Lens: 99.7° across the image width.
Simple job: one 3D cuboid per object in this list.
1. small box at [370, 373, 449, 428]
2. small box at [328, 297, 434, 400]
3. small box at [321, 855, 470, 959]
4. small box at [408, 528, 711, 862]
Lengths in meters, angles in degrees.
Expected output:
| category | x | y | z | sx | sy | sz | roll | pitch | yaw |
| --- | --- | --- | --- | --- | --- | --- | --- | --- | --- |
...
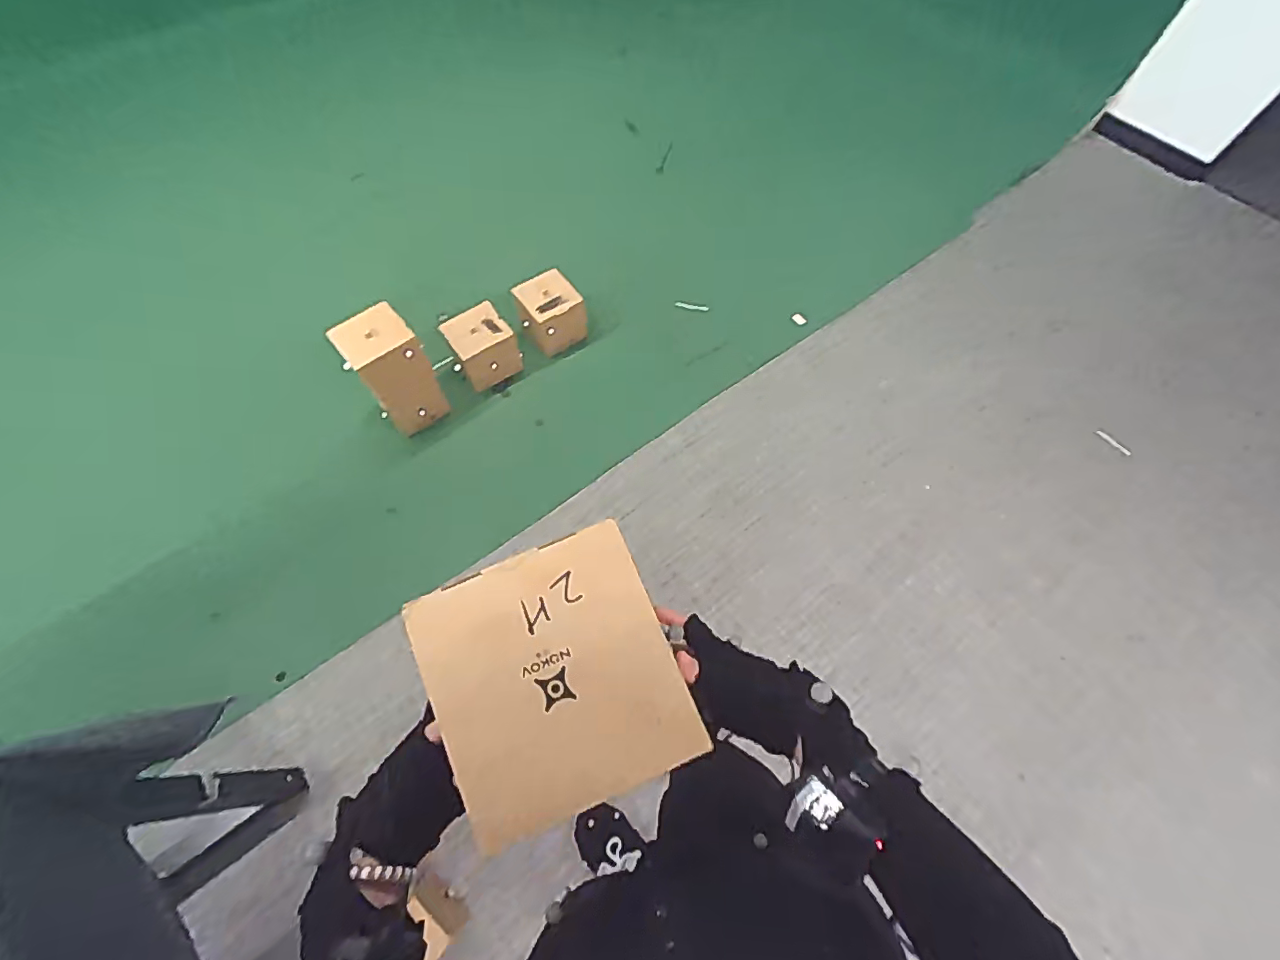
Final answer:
| category | x | y | z | sx | sy | sz | roll | pitch | yaw |
| --- | --- | --- | --- | --- | --- | --- | --- | --- | --- |
| small box | -0.700 | -0.278 | 1.617 | 0.168 | 0.176 | 0.179 | -36 | 71 | -16 |
| small box | -0.696 | -0.351 | 1.471 | 0.179 | 0.176 | 0.168 | -37 | 70 | -17 |
| small box | -0.467 | 0.888 | 1.061 | 0.168 | 0.176 | 0.179 | 37 | 70 | 15 |
| small box | -0.057 | 0.156 | 0.445 | 0.168 | 0.176 | 0.179 | -21 | 78 | -6 |
